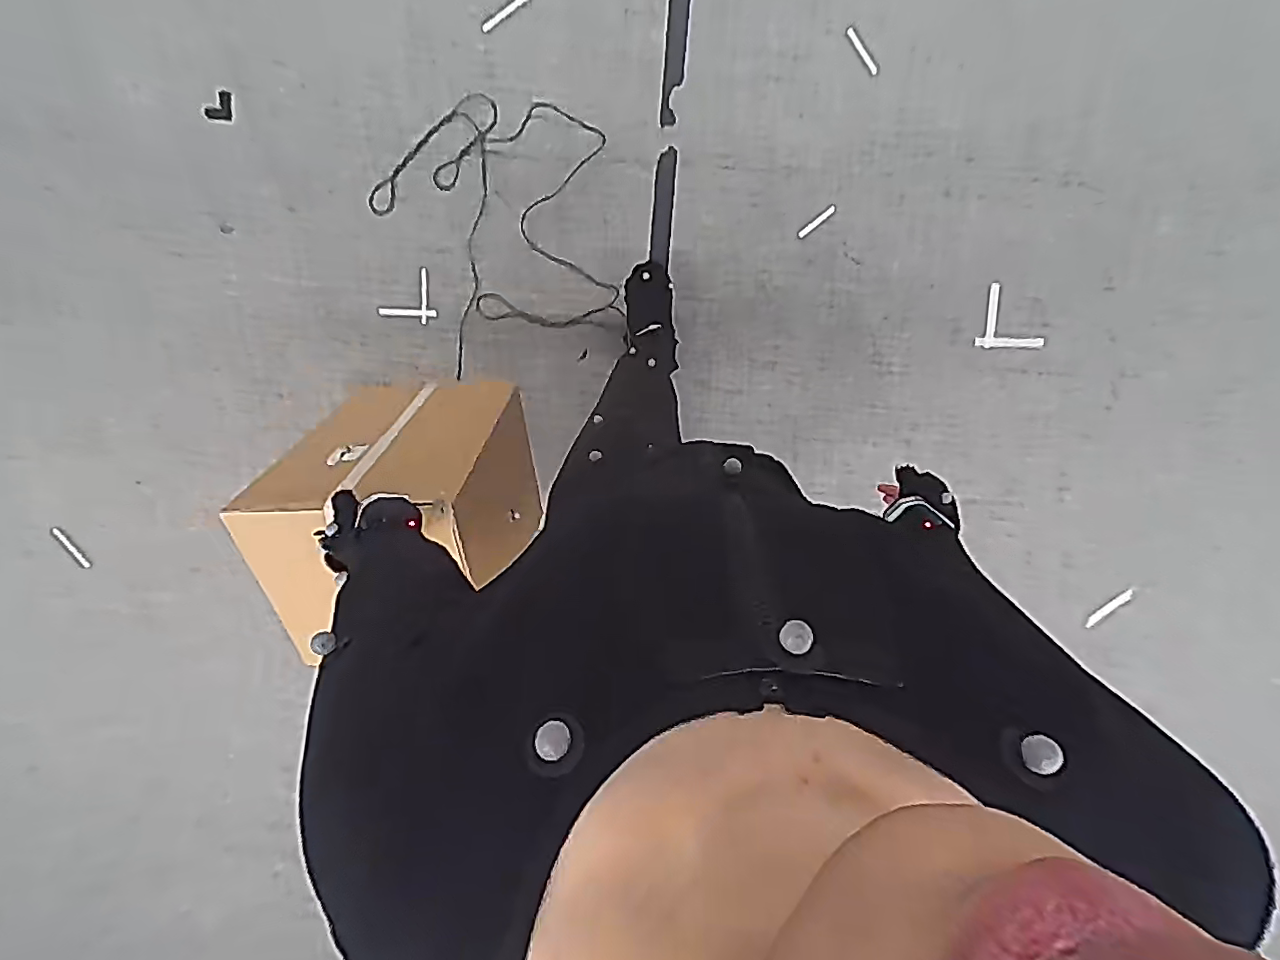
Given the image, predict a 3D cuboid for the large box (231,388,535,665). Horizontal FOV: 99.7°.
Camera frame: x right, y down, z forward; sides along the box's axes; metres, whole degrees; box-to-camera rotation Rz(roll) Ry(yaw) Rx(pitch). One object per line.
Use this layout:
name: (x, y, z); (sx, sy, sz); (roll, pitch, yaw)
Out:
large box: (-0.385, 0.062, 0.955); (0.320, 0.408, 0.320); (-3, 122, 3)
